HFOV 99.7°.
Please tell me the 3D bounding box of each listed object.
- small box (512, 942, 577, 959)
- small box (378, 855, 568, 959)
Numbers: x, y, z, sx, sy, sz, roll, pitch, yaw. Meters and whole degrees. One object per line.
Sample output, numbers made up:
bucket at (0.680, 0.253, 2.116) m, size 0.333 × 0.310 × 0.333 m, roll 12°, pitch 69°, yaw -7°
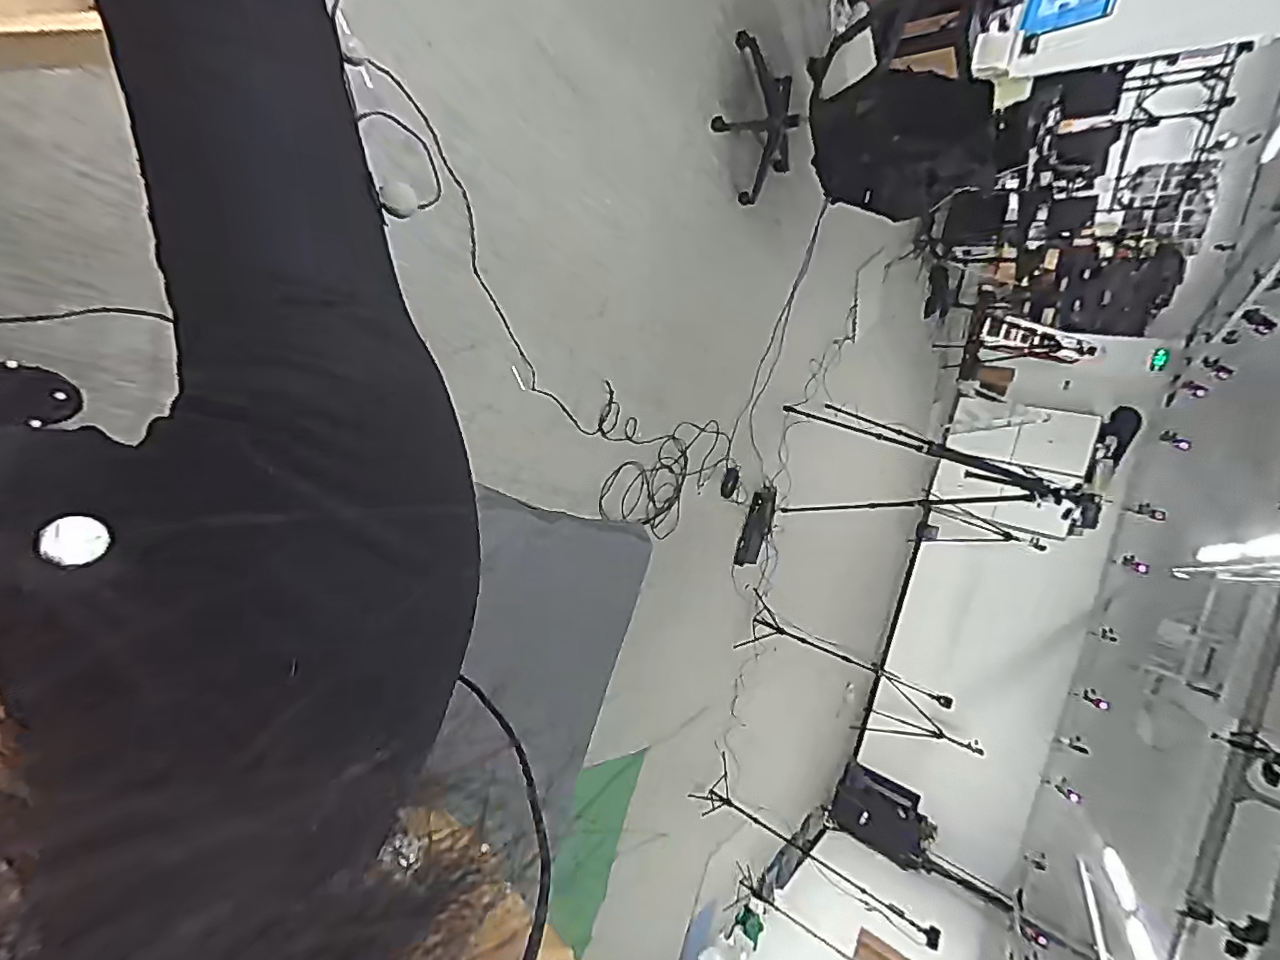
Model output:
small box at (-0.117, 0.729, 0.677) m, size 0.179 × 0.176 × 0.168 m, roll -52°, pitch 141°, yaw -26°
small box at (-0.242, 0.687, 0.771) m, size 0.179 × 0.176 × 0.168 m, roll -53°, pitch 141°, yaw -27°
